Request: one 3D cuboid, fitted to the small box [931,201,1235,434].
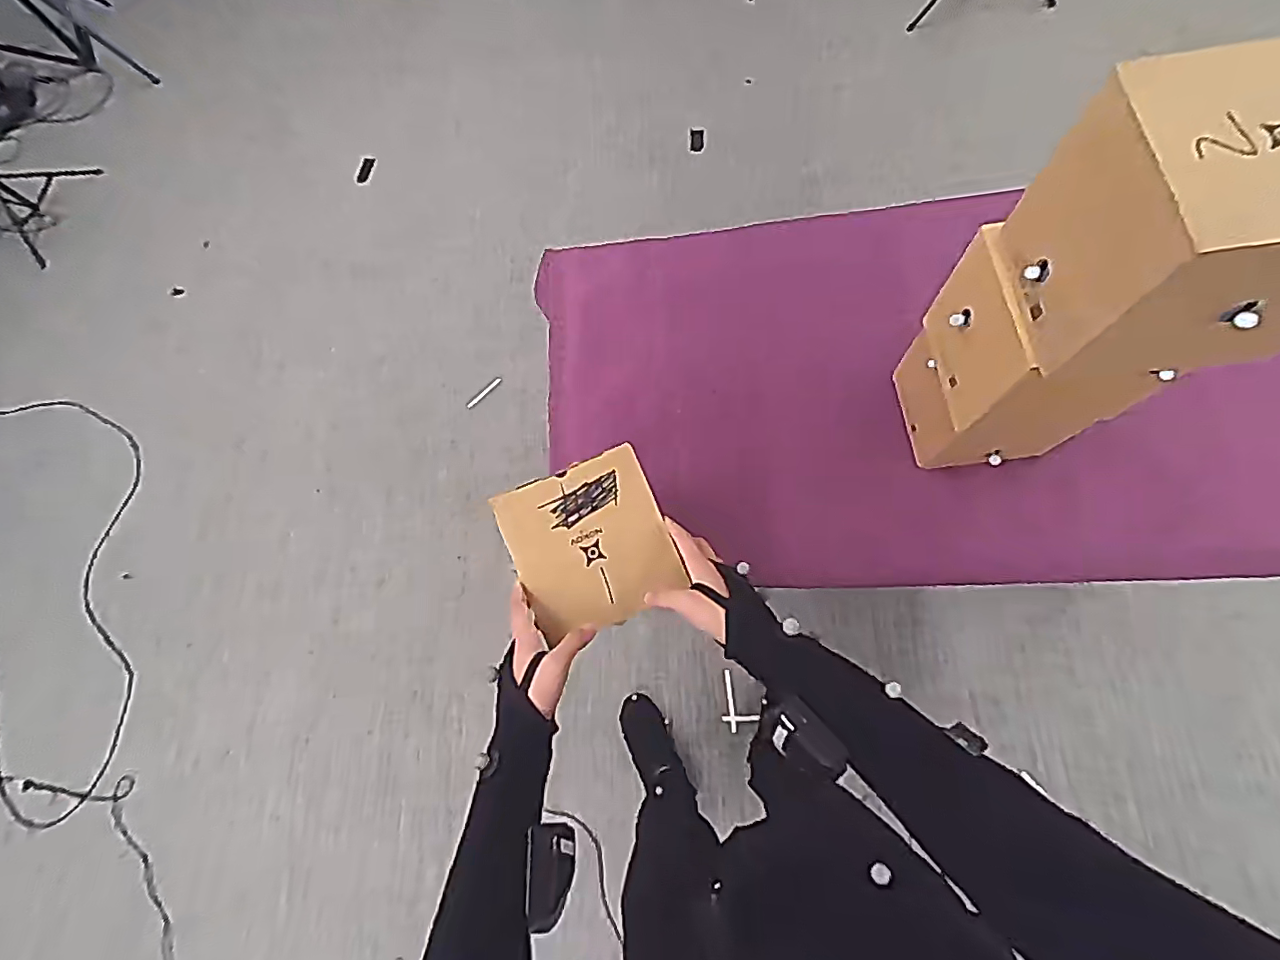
[{"bbox_3d":[0.440,-0.159,0.582,0.179,0.176,0.168,-7,72,5],"label":"small box"}]

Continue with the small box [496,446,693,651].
[{"bbox_3d":[-0.054,0.082,0.652,0.168,0.176,0.179,-22,84,-5],"label":"small box"}]

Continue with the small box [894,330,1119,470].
[{"bbox_3d":[0.478,-0.123,0.737,0.179,0.176,0.168,-7,71,4],"label":"small box"}]
